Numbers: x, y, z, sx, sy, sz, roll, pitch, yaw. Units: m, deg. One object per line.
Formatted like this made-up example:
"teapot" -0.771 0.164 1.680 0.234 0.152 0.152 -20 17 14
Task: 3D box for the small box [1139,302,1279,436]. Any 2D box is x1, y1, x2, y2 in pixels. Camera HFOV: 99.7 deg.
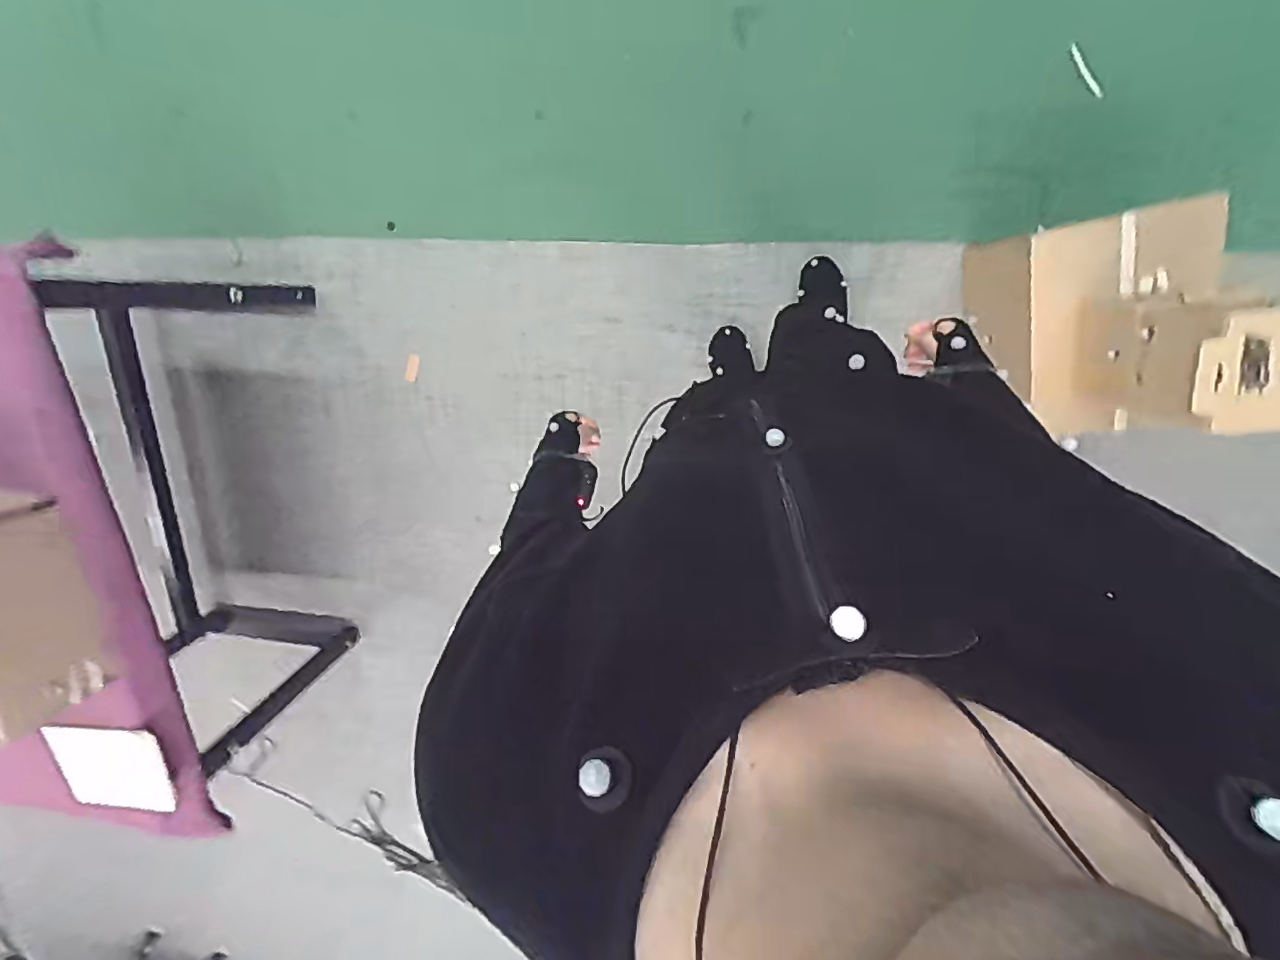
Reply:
"small box" 0.881 -0.165 0.782 0.179 0.176 0.168 -3 107 11

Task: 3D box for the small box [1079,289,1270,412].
"small box" 0.902 -0.224 0.933 0.168 0.176 0.179 -5 107 12

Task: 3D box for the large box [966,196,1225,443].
"large box" 0.932 -0.326 1.156 0.320 0.320 0.408 -9 105 11
